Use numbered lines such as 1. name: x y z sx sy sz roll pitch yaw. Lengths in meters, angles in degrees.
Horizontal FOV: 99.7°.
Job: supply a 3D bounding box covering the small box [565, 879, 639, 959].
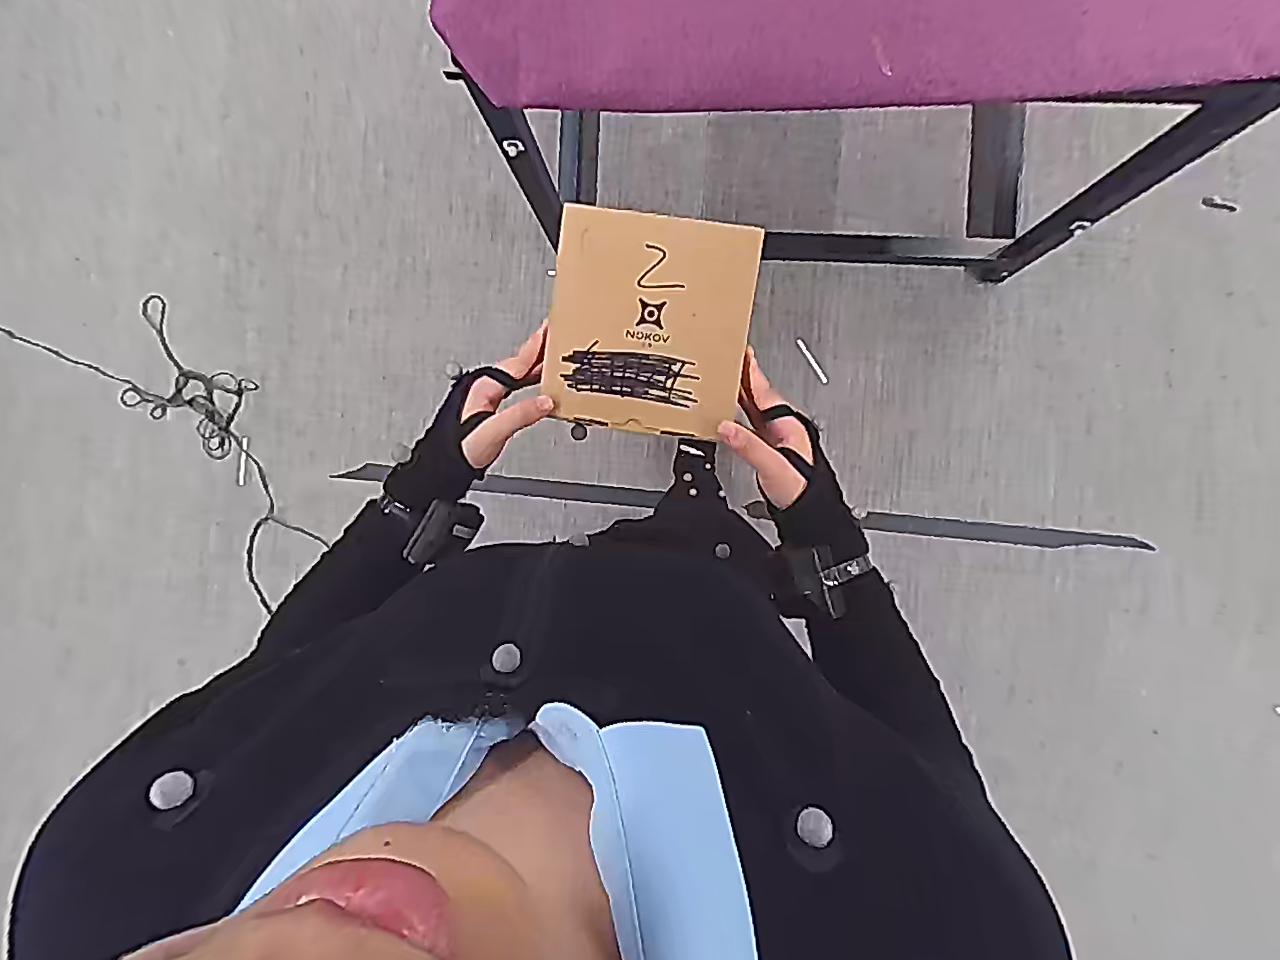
1. small box: -0.096 1.162 1.361 0.168 0.176 0.179 9 90 2
